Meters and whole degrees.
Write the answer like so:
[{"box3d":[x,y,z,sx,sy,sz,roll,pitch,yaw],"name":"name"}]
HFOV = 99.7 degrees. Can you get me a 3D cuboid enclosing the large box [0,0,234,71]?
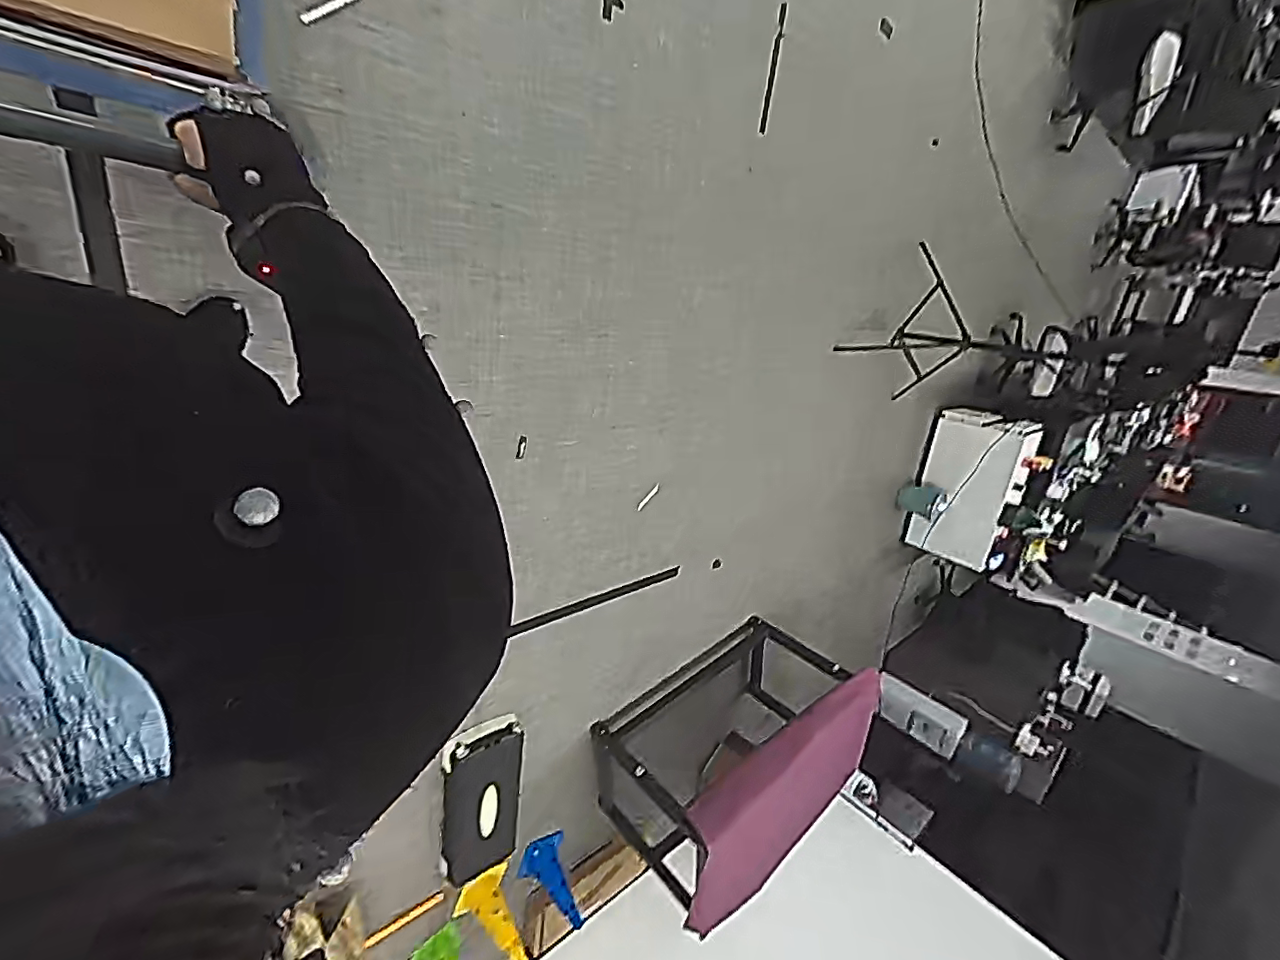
[{"box3d":[-0.771,-0.746,0.650,0.408,0.320,0.320,-9,124,-42],"name":"large box"}]
